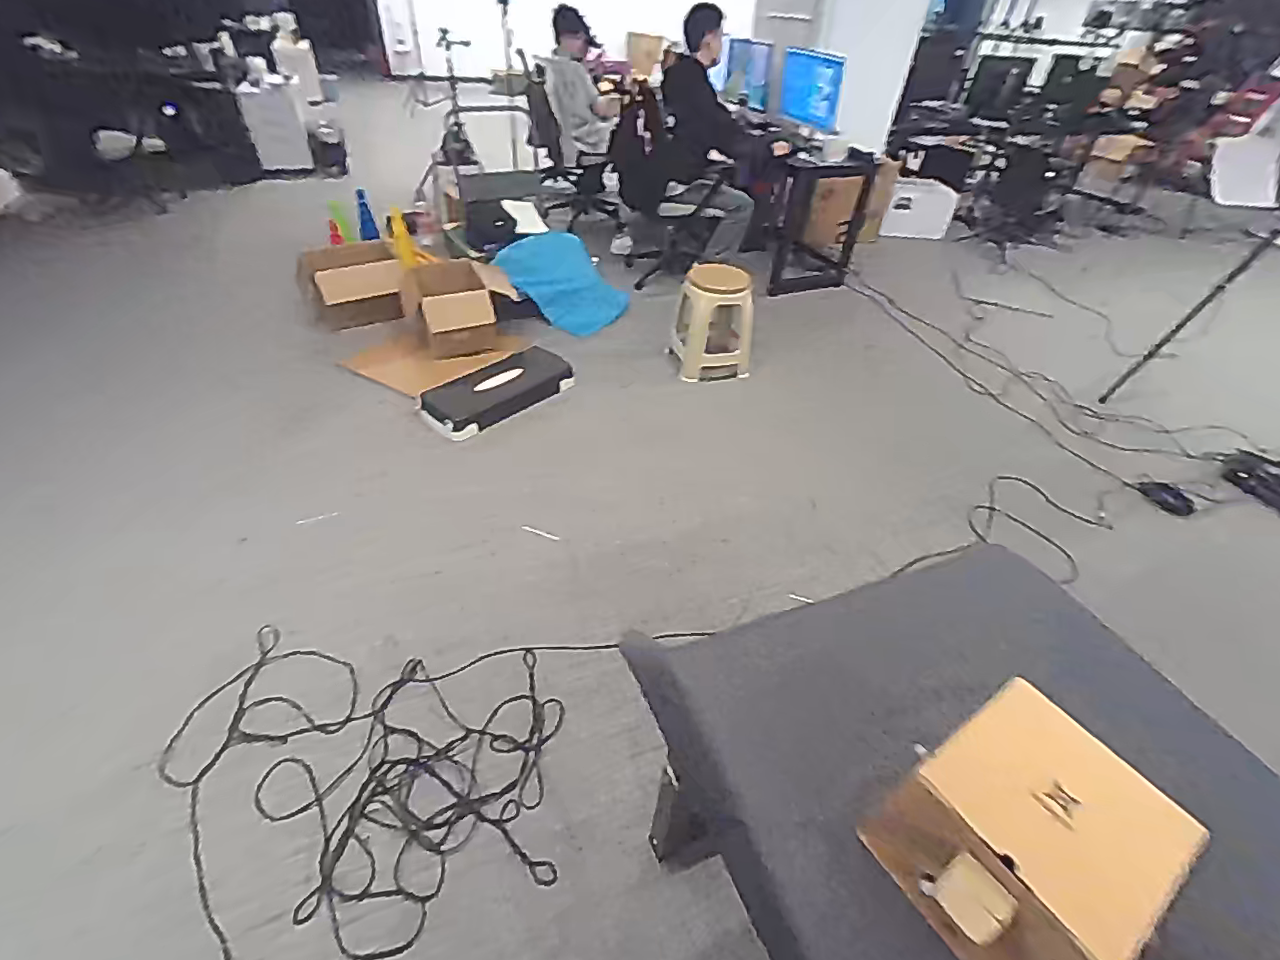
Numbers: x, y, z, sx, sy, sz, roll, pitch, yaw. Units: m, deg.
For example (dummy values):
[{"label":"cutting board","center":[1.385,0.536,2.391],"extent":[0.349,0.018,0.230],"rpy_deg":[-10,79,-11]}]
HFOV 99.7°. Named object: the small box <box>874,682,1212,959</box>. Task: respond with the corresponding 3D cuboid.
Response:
[{"label":"small box","center":[0.360,0.337,0.516],"extent":[0.179,0.176,0.168],"rpy_deg":[-22,49,-26]}]
